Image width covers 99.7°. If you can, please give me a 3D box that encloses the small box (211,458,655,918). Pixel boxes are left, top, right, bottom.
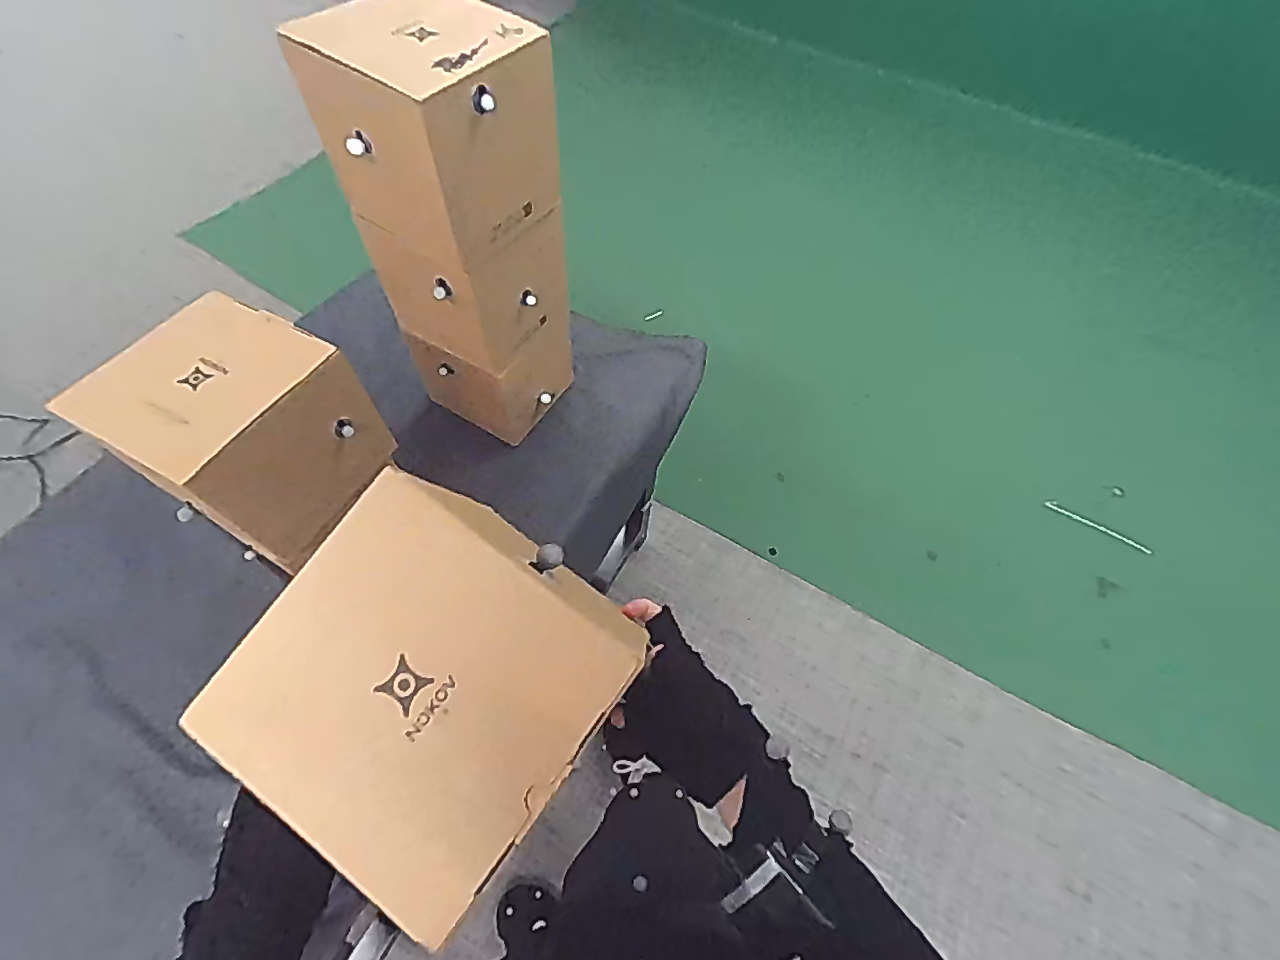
[{"bbox_3d":[-0.107,0.115,0.360,0.179,0.176,0.168,36,82,7],"label":"small box"}]

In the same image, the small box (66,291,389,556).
[{"bbox_3d":[-0.391,-0.053,0.559,0.168,0.176,0.179,25,61,12],"label":"small box"}]

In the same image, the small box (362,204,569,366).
[{"bbox_3d":[-0.207,-0.275,0.700,0.179,0.176,0.168,30,62,14],"label":"small box"}]

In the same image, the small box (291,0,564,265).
[{"bbox_3d":[-0.198,-0.356,0.557,0.179,0.176,0.168,31,63,15],"label":"small box"}]
